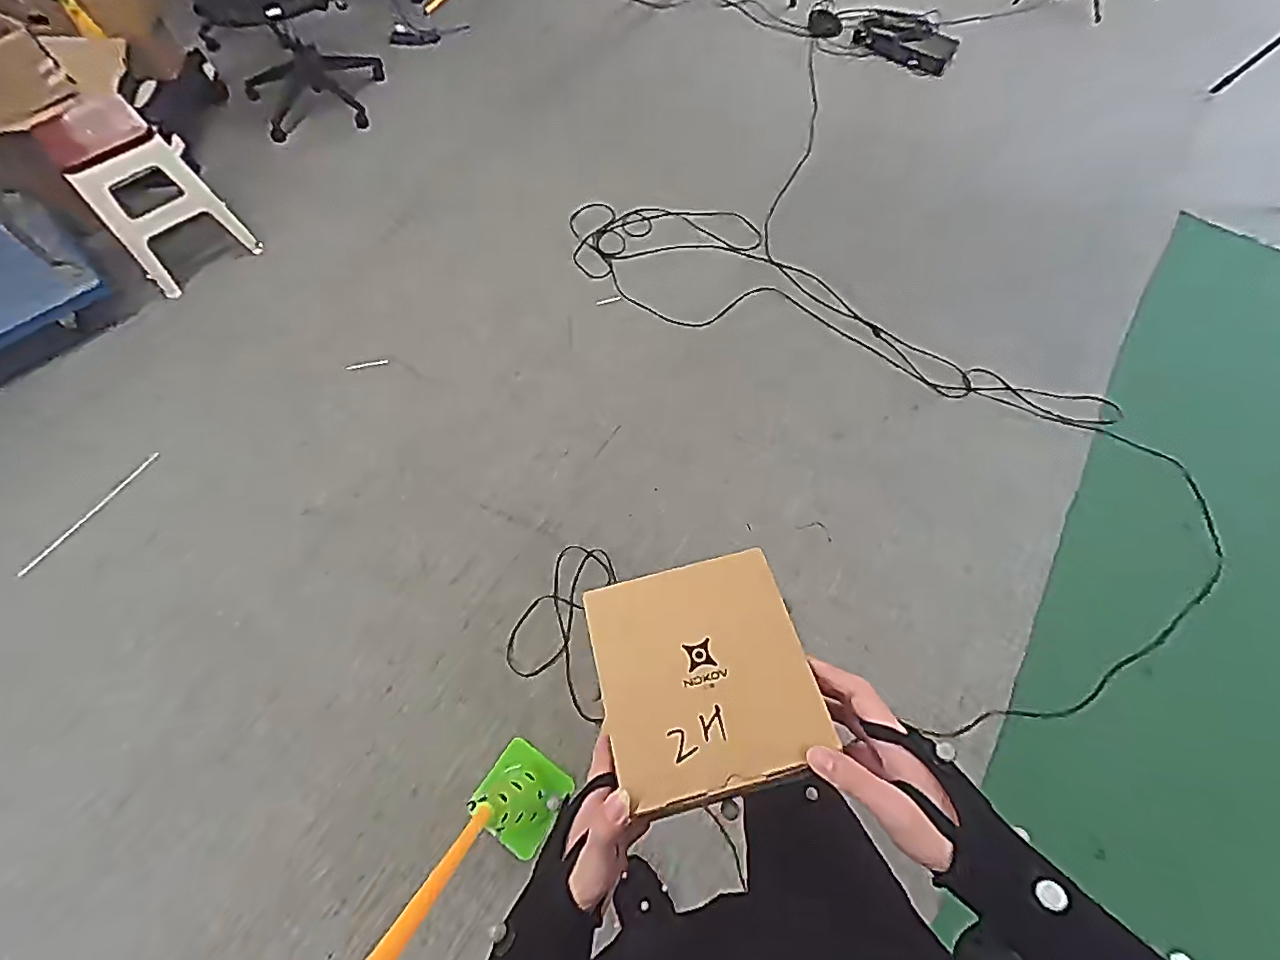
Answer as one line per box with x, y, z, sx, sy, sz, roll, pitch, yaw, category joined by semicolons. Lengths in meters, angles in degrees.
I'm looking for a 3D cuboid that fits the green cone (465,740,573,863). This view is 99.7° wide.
-0.287;0.690;1.142;0.200;0.368;0.202;32;67;14;green cone
